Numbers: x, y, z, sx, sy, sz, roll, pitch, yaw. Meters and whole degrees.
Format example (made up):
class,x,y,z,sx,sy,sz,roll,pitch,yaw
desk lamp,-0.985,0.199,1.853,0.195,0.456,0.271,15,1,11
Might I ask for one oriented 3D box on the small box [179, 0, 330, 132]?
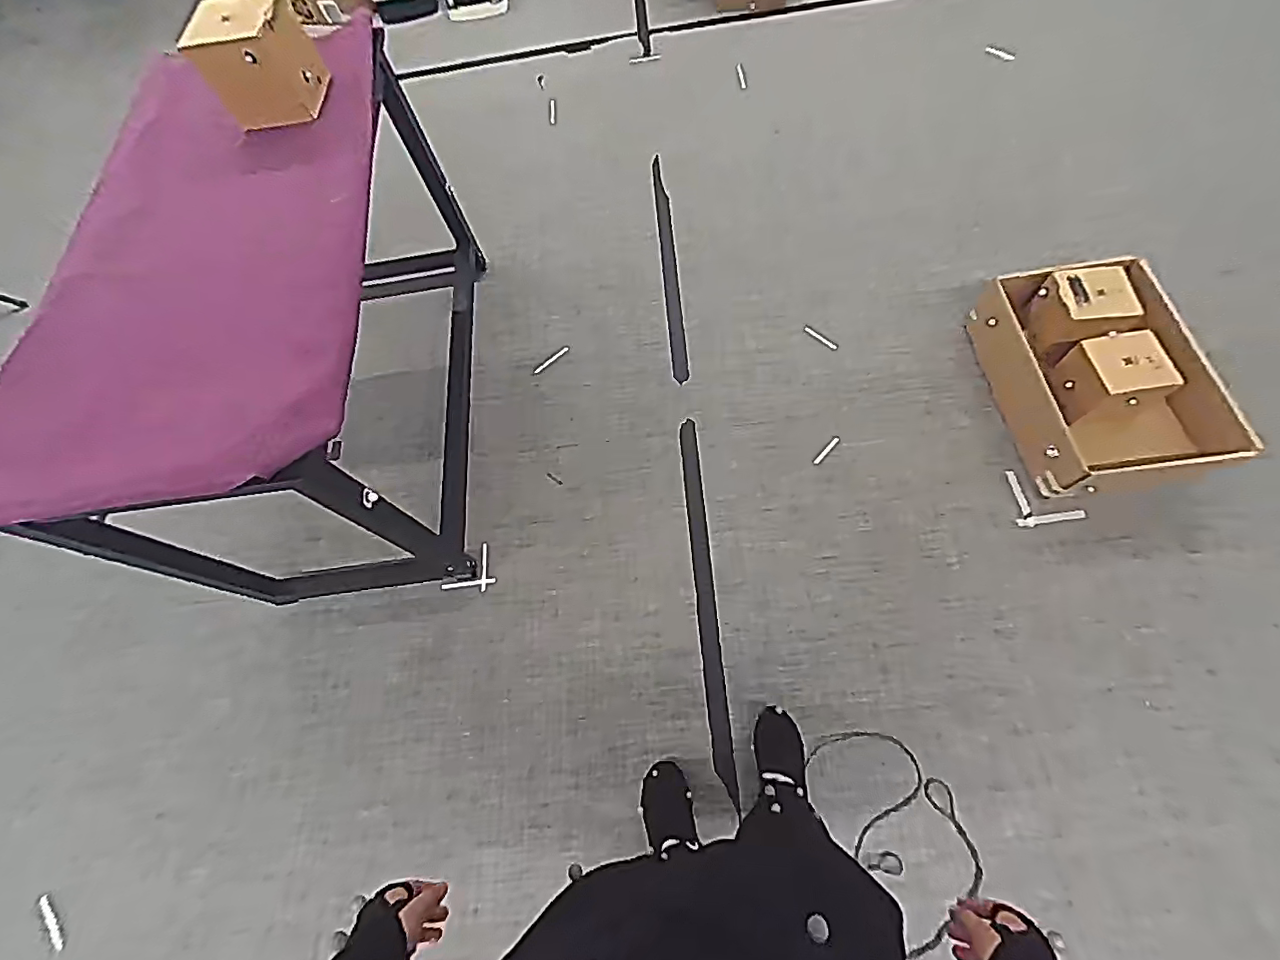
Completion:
class,x,y,z,sx,sy,sz,roll,pitch,yaw
small box,-0.807,-0.875,1.150,0.179,0.176,0.168,-3,66,6

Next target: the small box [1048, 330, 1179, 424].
class,x,y,z,sx,sy,sz,roll,pitch,yaw
small box,1.215,-0.262,1.411,0.179,0.176,0.168,-8,66,3
